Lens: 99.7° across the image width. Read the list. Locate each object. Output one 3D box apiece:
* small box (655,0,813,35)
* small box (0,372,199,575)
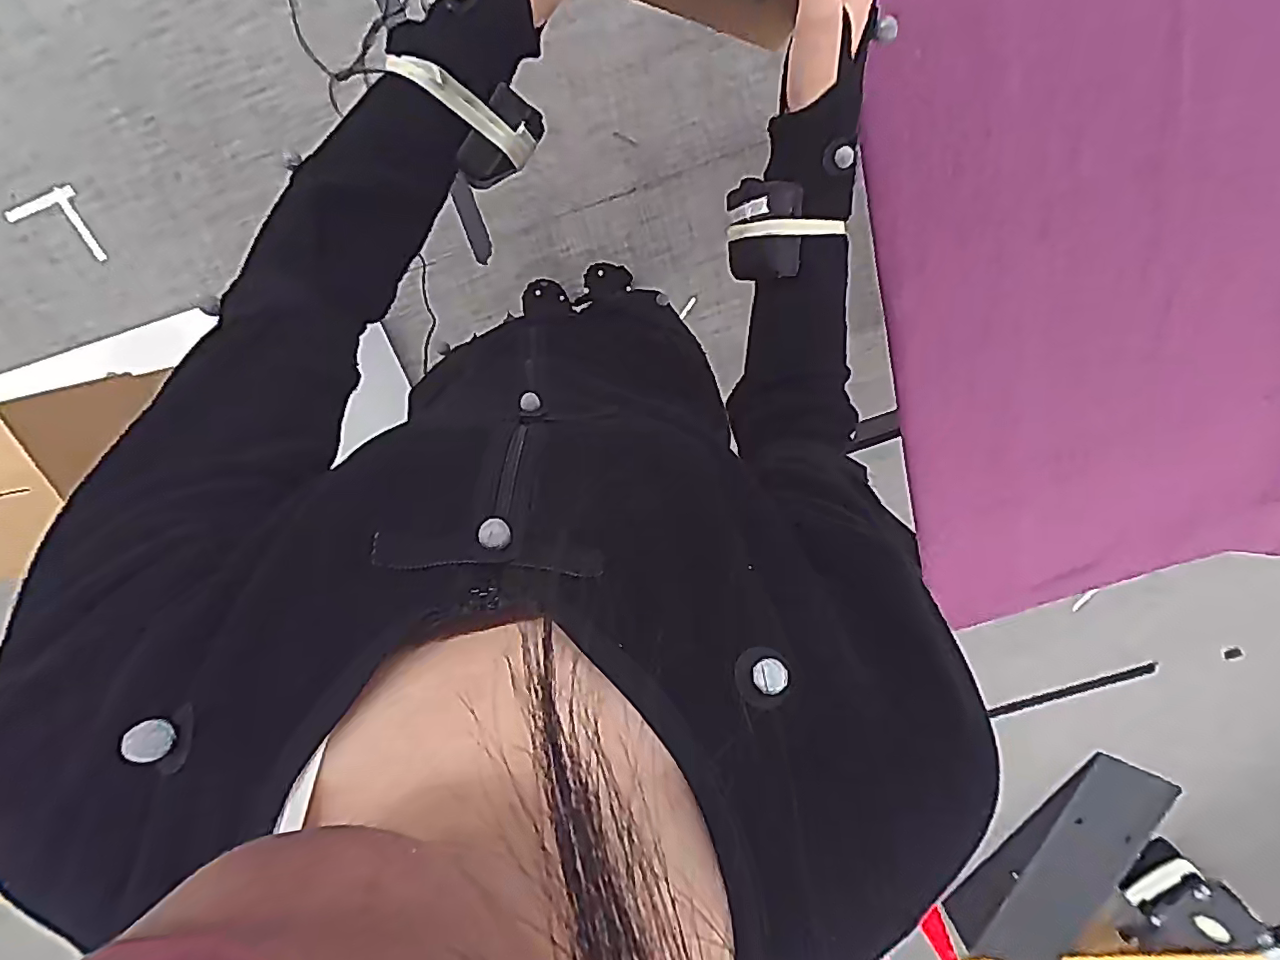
[{"bbox_3d":[0.060,-0.419,0.336,0.179,0.176,0.168,14,113,-8],"label":"small box"},{"bbox_3d":[-0.667,-0.010,0.608,0.179,0.176,0.168,-16,113,2],"label":"small box"}]
